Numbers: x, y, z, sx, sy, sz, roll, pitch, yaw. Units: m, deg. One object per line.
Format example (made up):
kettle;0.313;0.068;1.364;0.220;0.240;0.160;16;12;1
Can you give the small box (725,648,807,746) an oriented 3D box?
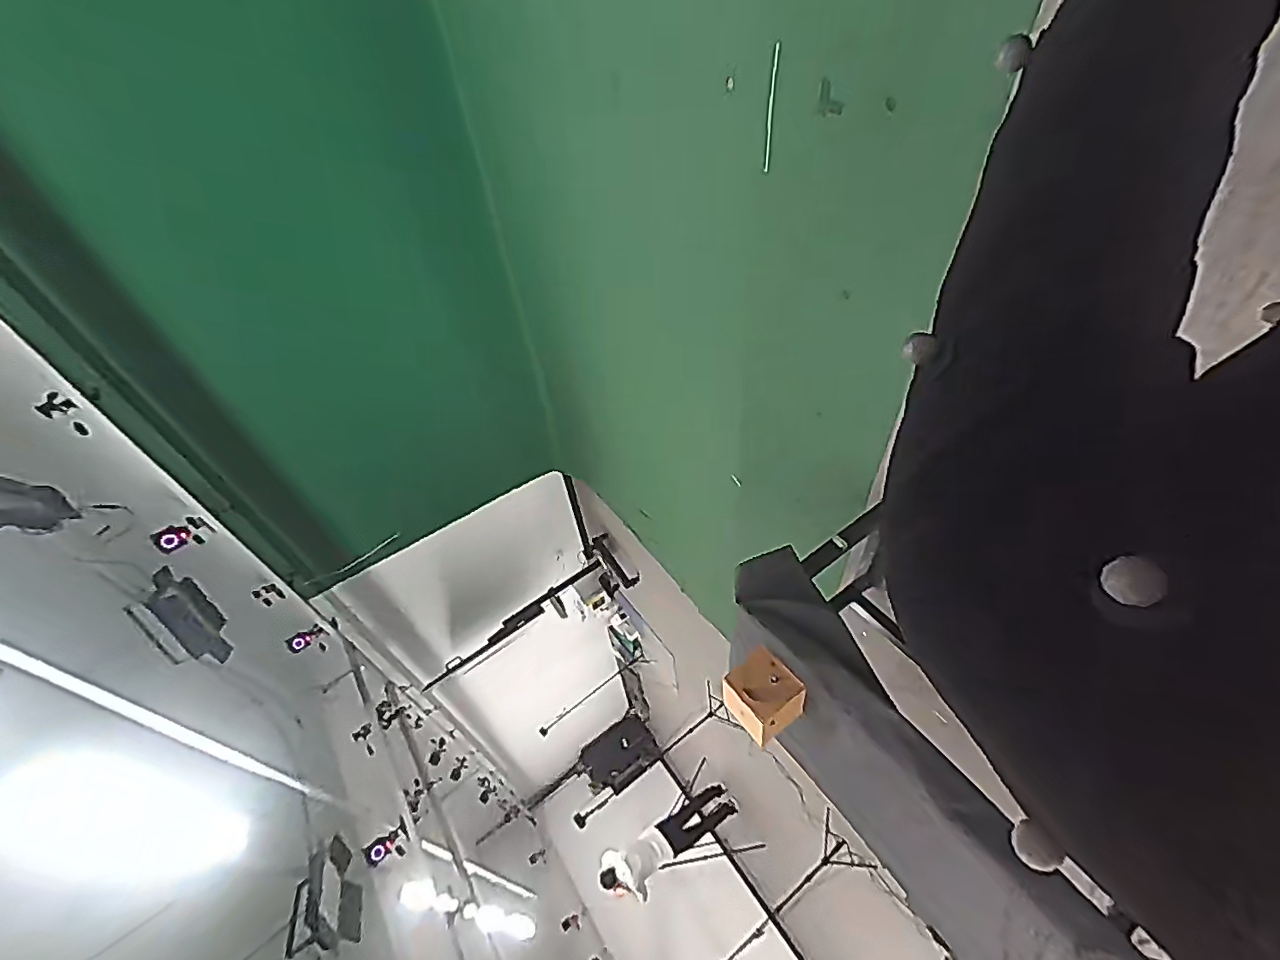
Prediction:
small box;0.368;0.630;1.577;0.168;0.176;0.179;42;153;40
